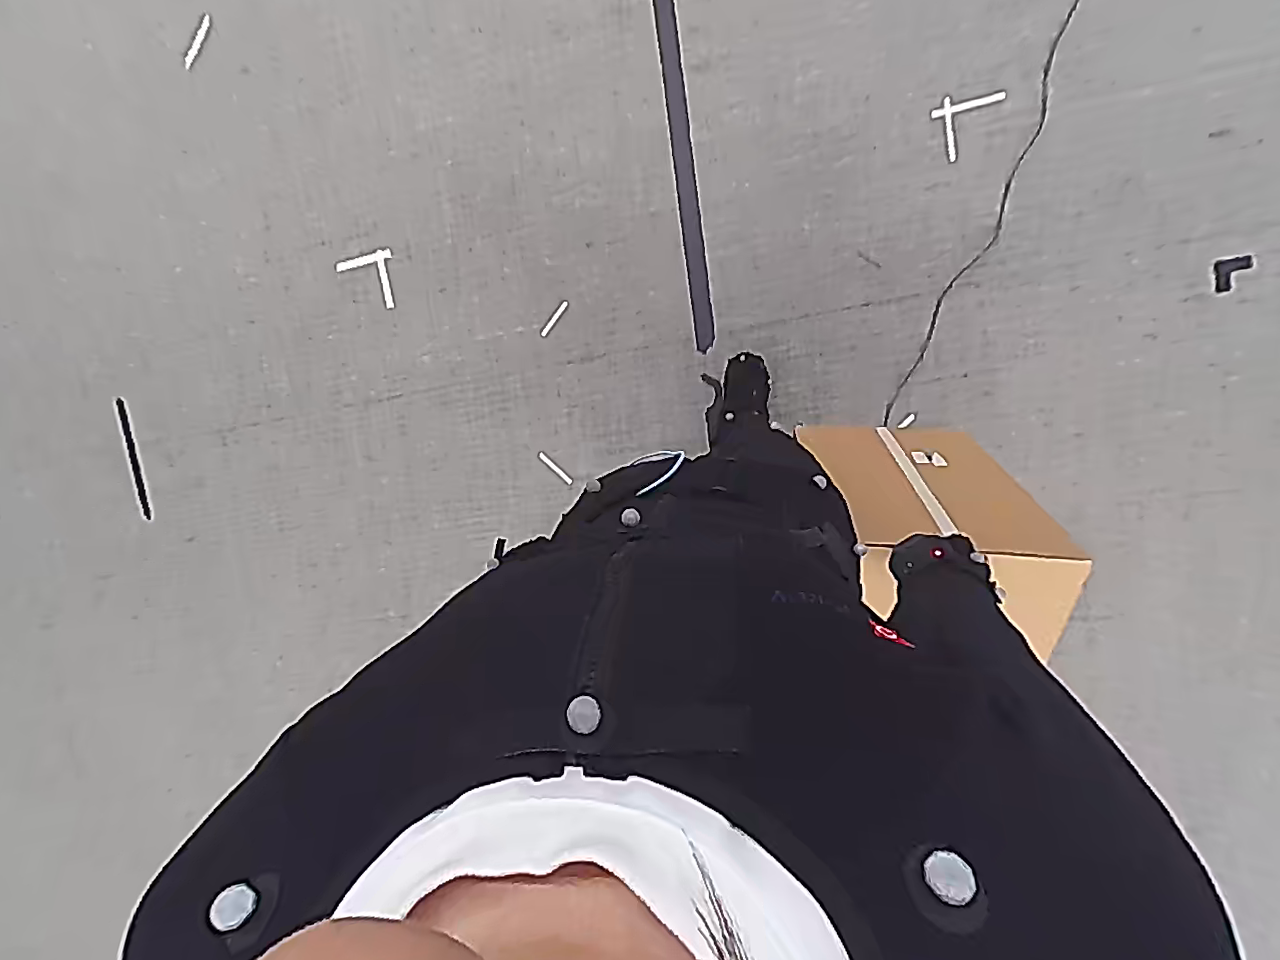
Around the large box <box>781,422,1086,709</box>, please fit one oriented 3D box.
[{"bbox_3d":[0.430,0.121,0.924,0.320,0.408,0.320,3,117,6],"label":"large box"}]
